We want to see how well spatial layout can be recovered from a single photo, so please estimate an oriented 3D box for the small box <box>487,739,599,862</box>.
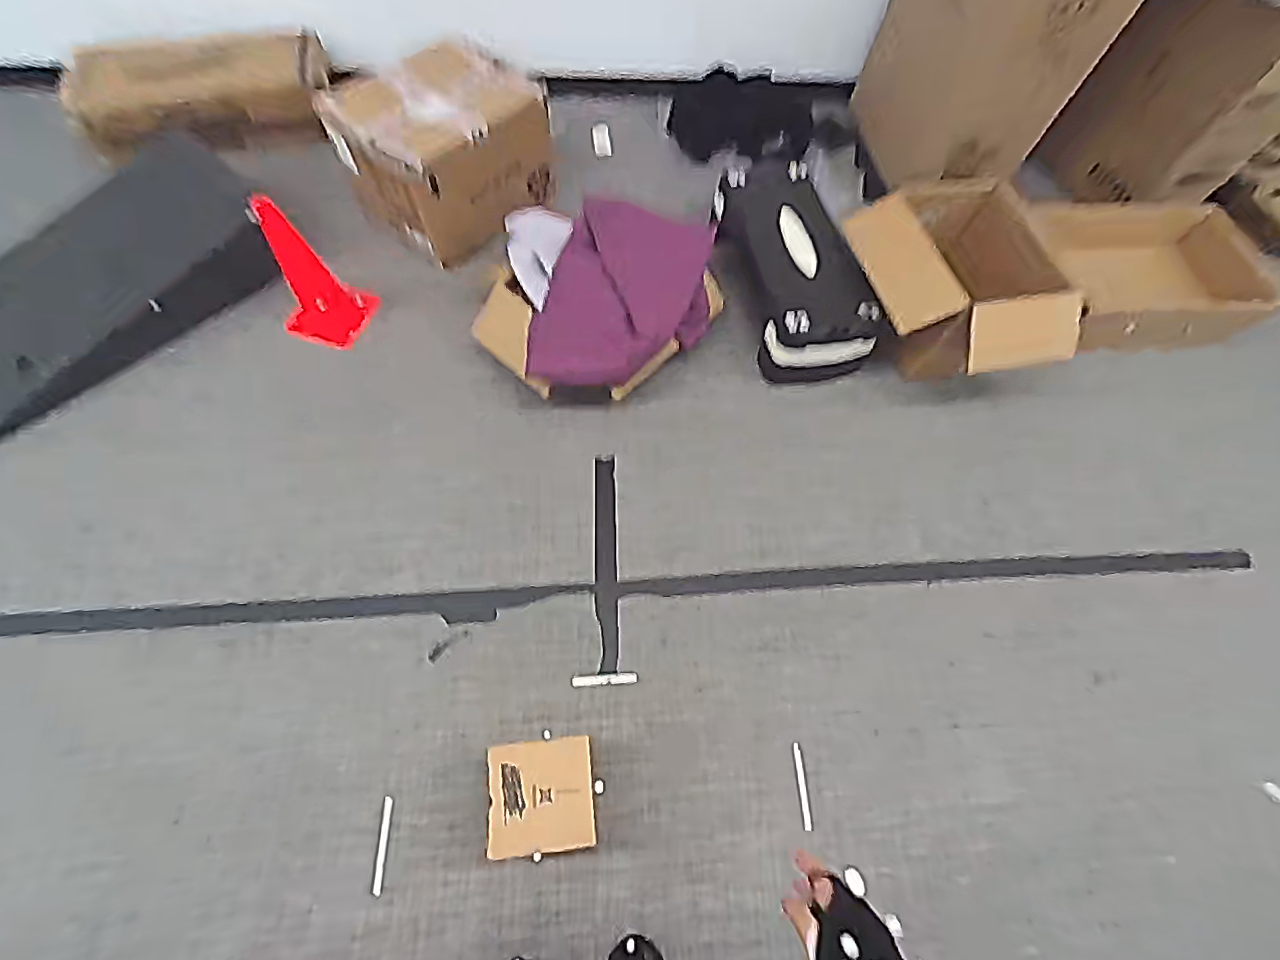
[{"bbox_3d":[-0.167,0.566,0.969,0.179,0.176,0.168,-4,64,-6],"label":"small box"}]
